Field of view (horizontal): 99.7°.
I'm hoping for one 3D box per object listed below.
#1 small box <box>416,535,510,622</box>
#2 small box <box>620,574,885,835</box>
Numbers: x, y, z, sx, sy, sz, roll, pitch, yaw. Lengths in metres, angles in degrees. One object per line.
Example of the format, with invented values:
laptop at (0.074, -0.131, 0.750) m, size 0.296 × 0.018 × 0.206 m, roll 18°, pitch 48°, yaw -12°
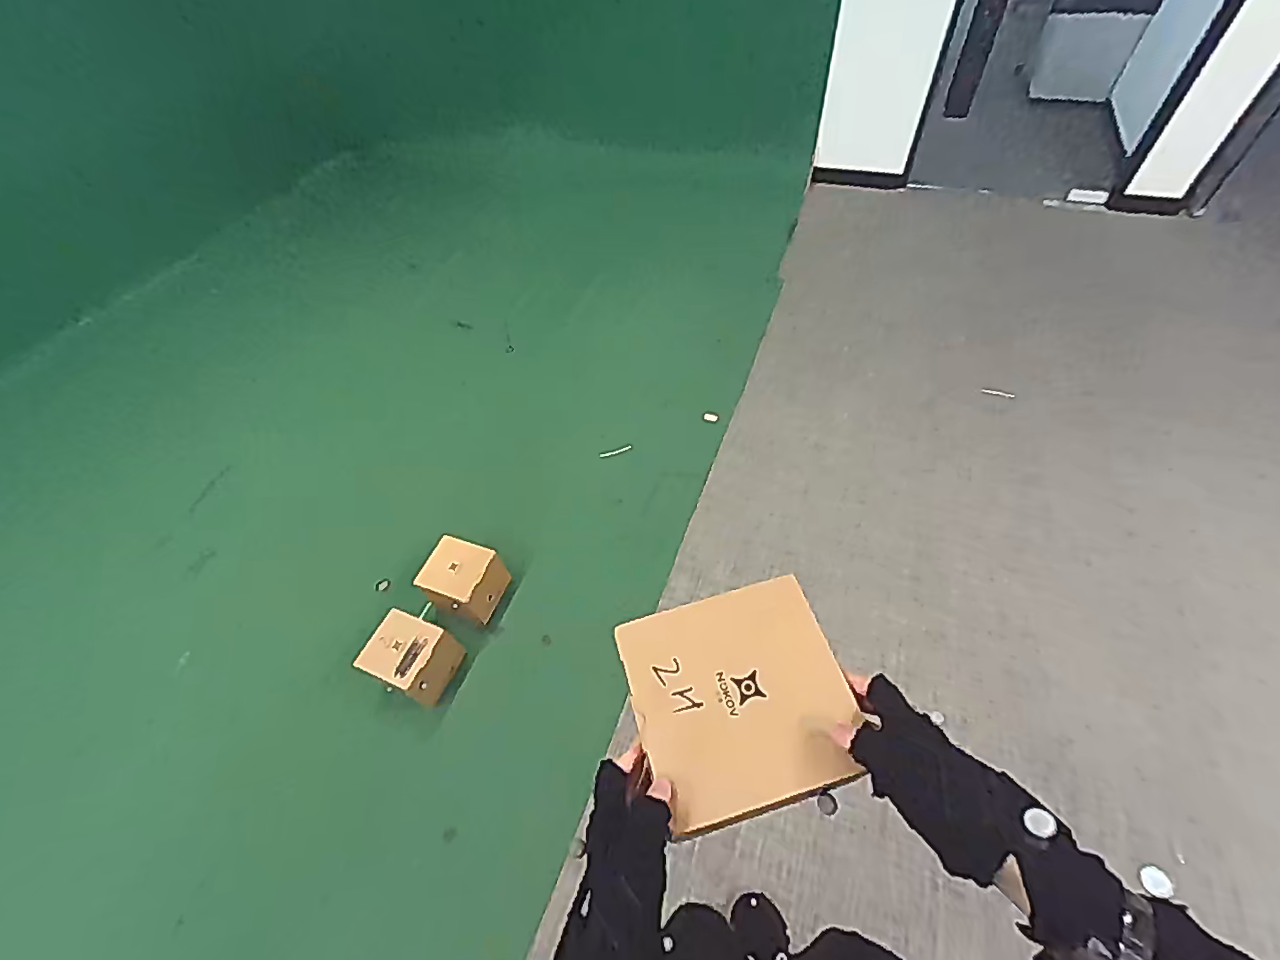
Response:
small box at (-0.506, 0.290, 1.568) m, size 0.179 × 0.176 × 0.168 m, roll 15°, pitch 56°, yaw 14°
small box at (0.089, 0.215, 0.510) m, size 0.179 × 0.176 × 0.168 m, roll -15°, pitch 55°, yaw -5°
